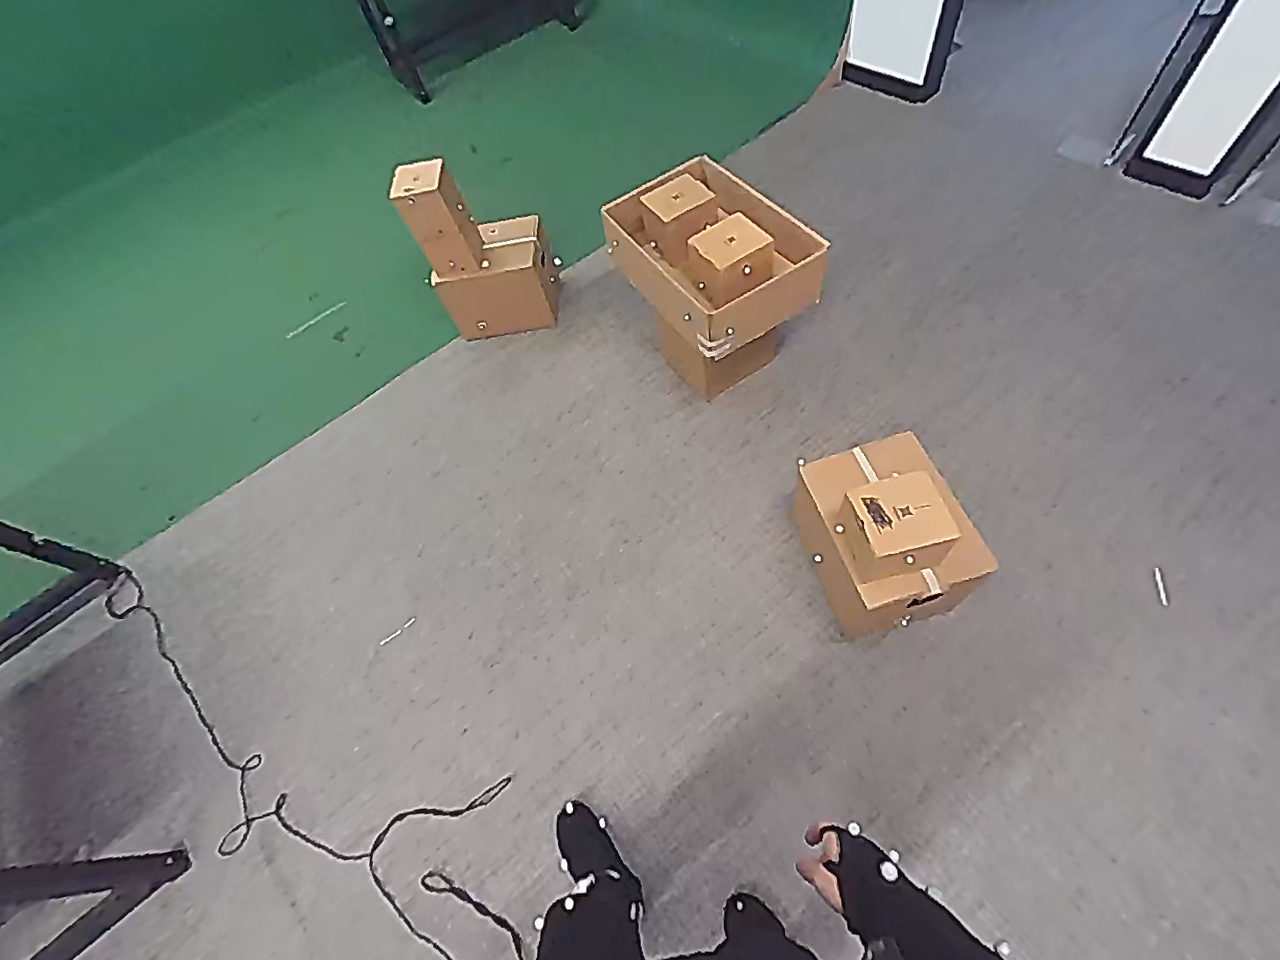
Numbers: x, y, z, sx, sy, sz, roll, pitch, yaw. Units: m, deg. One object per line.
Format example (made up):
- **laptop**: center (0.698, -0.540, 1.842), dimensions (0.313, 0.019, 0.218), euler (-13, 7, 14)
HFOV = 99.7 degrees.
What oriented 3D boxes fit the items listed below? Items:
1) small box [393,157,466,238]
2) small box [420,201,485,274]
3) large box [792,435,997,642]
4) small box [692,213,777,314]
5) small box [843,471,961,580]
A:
- **small box**: center (-0.710, -0.963, 1.849), dimensions (0.168, 0.176, 0.179), euler (-7, 60, 6)
- **small box**: center (-0.686, -0.893, 1.996), dimensions (0.168, 0.176, 0.179), euler (-7, 61, 7)
- **large box**: center (0.631, 0.161, 1.436), dimensions (0.320, 0.320, 0.408), euler (-17, 58, 0)
- **small box**: center (0.267, -0.612, 1.538), dimensions (0.179, 0.176, 0.168), euler (-31, 60, -6)
- **small box**: center (0.562, 0.107, 1.193), dimensions (0.179, 0.176, 0.168), euler (-14, 59, 4)
